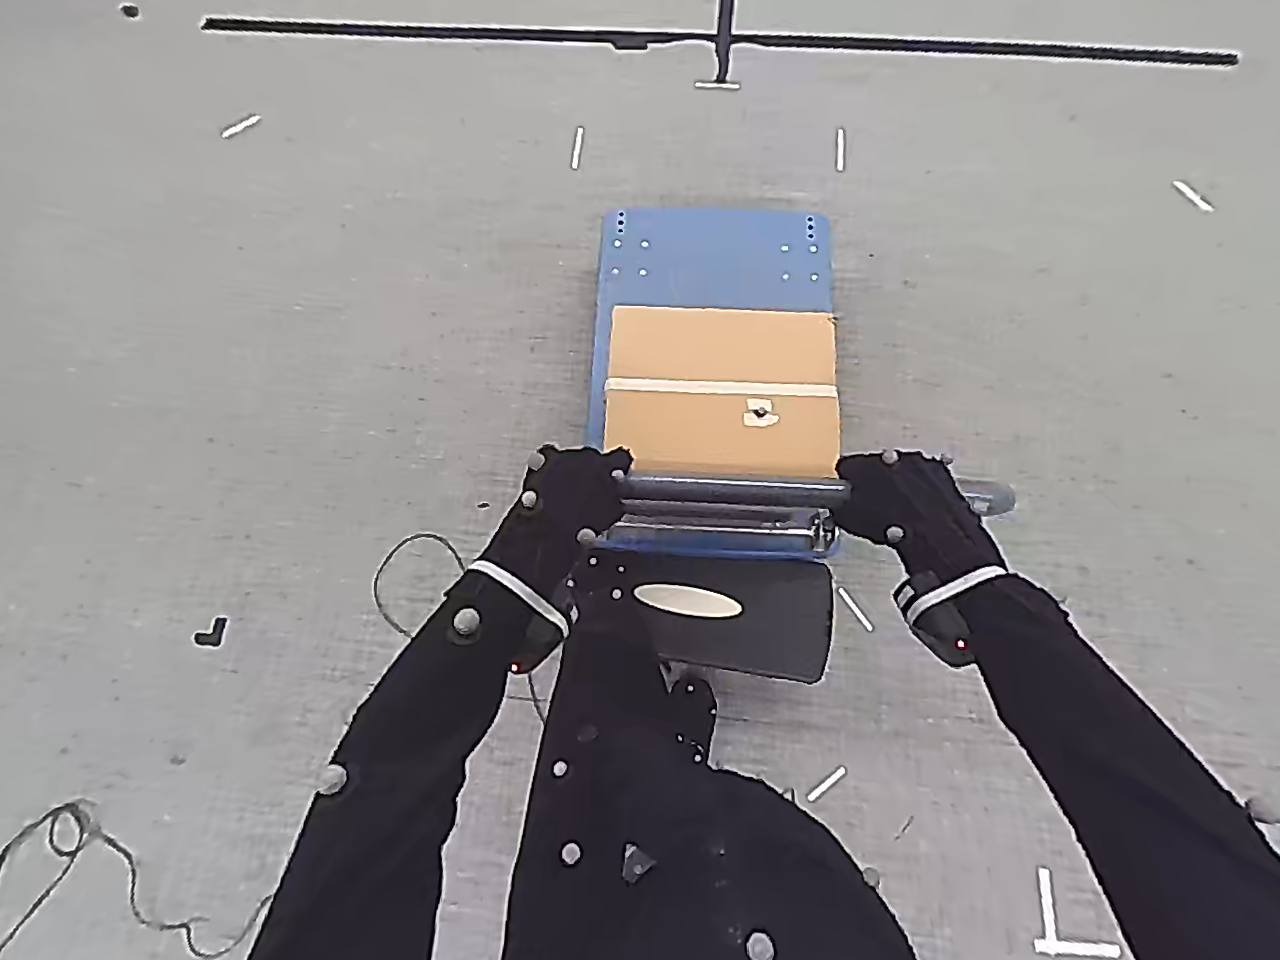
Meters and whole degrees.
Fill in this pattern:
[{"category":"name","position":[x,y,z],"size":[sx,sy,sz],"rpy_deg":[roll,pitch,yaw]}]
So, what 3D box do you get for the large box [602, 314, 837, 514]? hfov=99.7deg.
[{"category":"large box","position":[0.136,-0.112,1.088],"size":[0.408,0.320,0.320],"rpy_deg":[2,77,1]}]
